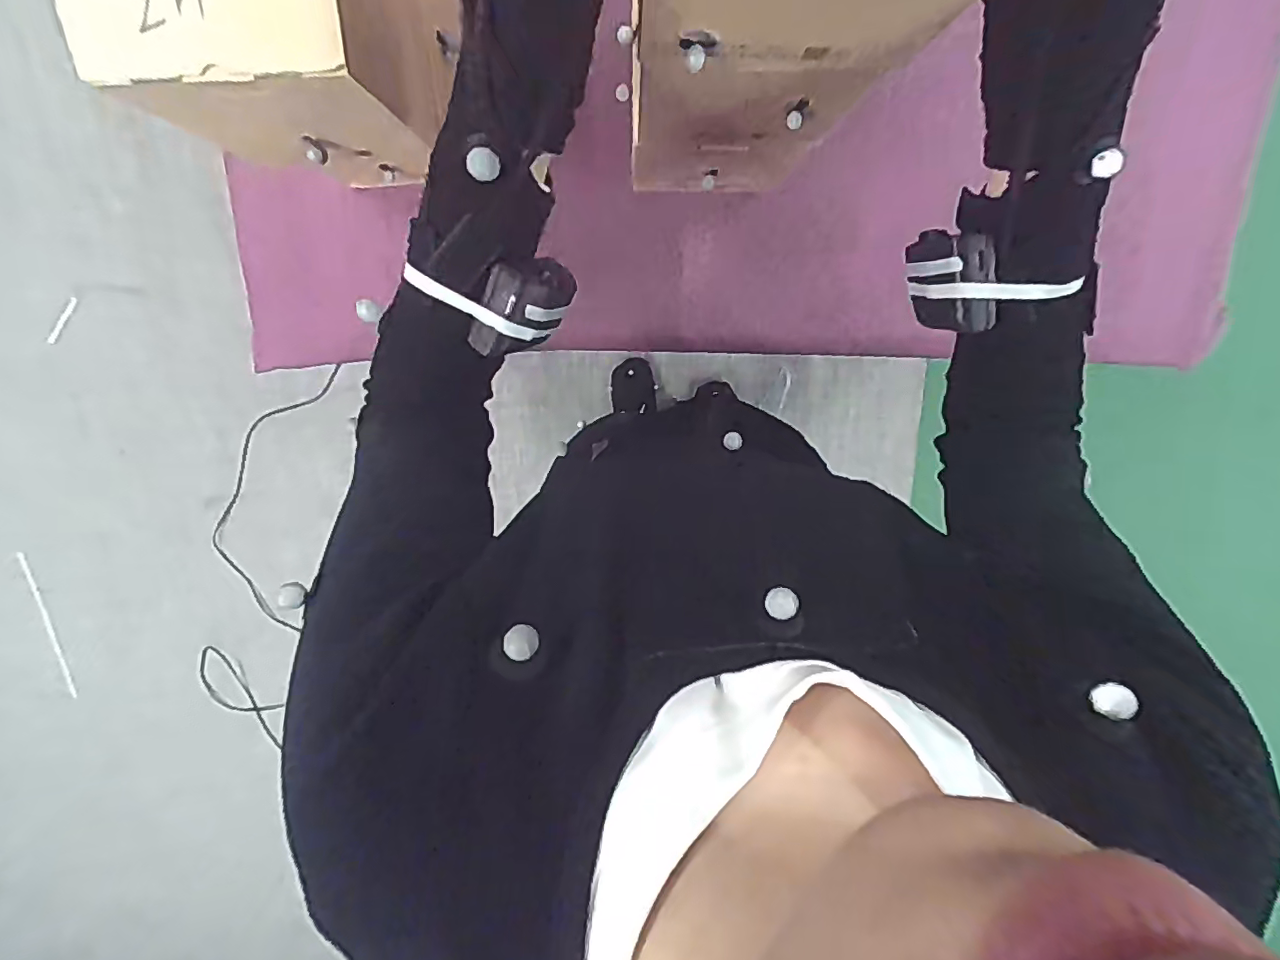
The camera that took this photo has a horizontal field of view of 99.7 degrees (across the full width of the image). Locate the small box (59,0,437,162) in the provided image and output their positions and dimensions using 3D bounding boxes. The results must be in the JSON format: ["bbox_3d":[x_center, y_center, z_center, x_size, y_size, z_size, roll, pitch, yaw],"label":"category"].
[{"bbox_3d":[-0.261,-0.349,0.383,0.168,0.176,0.179,-3,106,0],"label":"small box"}]

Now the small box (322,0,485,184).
[{"bbox_3d":[-0.264,-0.415,0.535,0.168,0.176,0.179,-5,106,0],"label":"small box"}]

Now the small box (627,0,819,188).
[{"bbox_3d":[0.073,-0.408,0.545,0.168,0.176,0.179,-3,105,1],"label":"small box"}]
